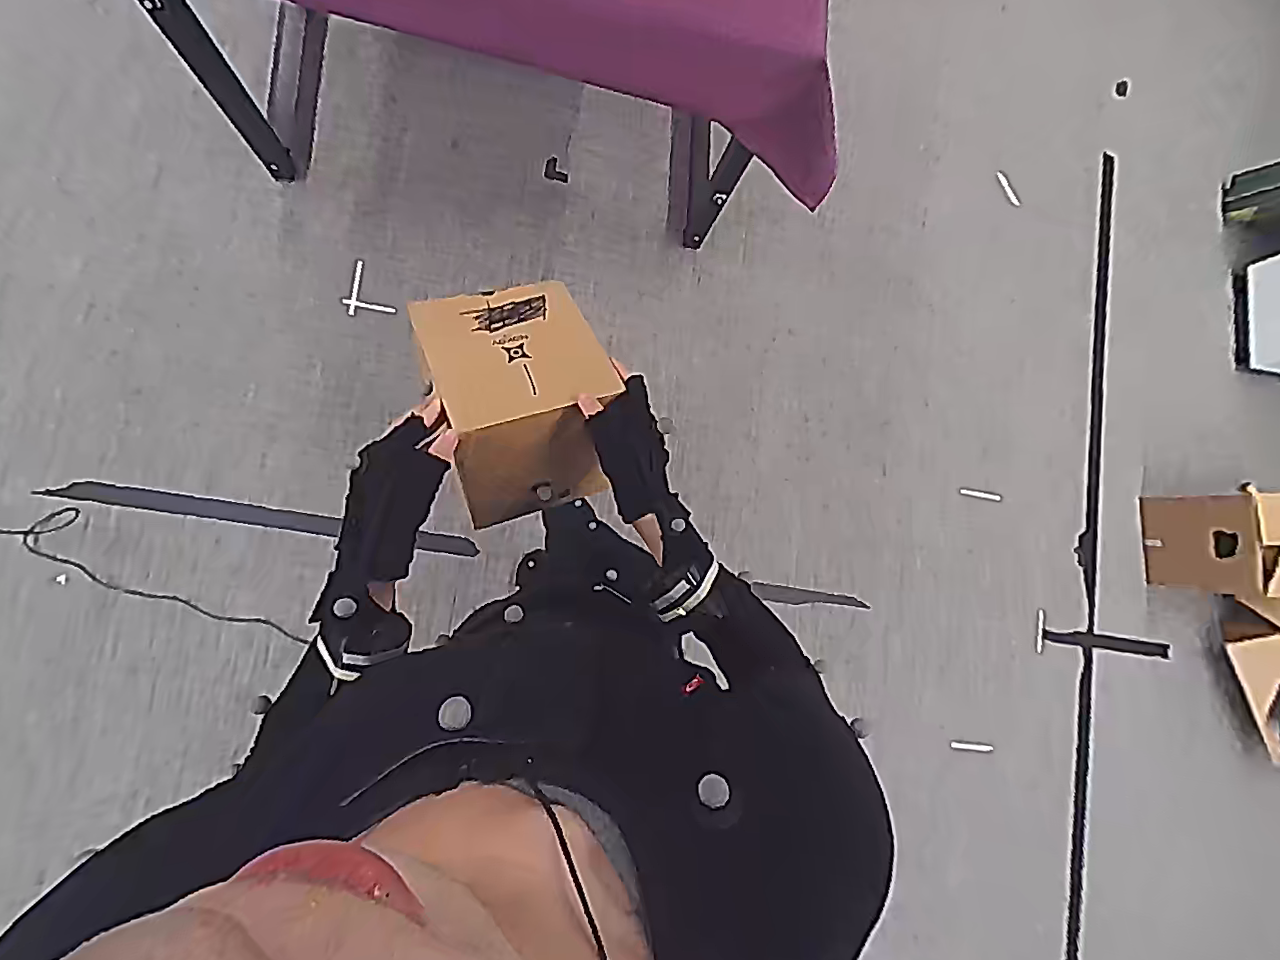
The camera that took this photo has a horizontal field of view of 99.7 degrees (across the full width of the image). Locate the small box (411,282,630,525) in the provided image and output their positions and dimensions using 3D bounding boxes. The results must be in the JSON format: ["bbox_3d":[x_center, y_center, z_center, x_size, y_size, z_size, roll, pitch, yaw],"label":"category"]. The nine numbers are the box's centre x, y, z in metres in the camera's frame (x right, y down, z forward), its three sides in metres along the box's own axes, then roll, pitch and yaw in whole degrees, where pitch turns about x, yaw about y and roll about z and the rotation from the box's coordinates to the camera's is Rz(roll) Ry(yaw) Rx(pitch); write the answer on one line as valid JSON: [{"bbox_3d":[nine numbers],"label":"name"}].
[{"bbox_3d":[-0.130,-0.082,0.580,0.168,0.176,0.179,-18,59,-22],"label":"small box"}]
